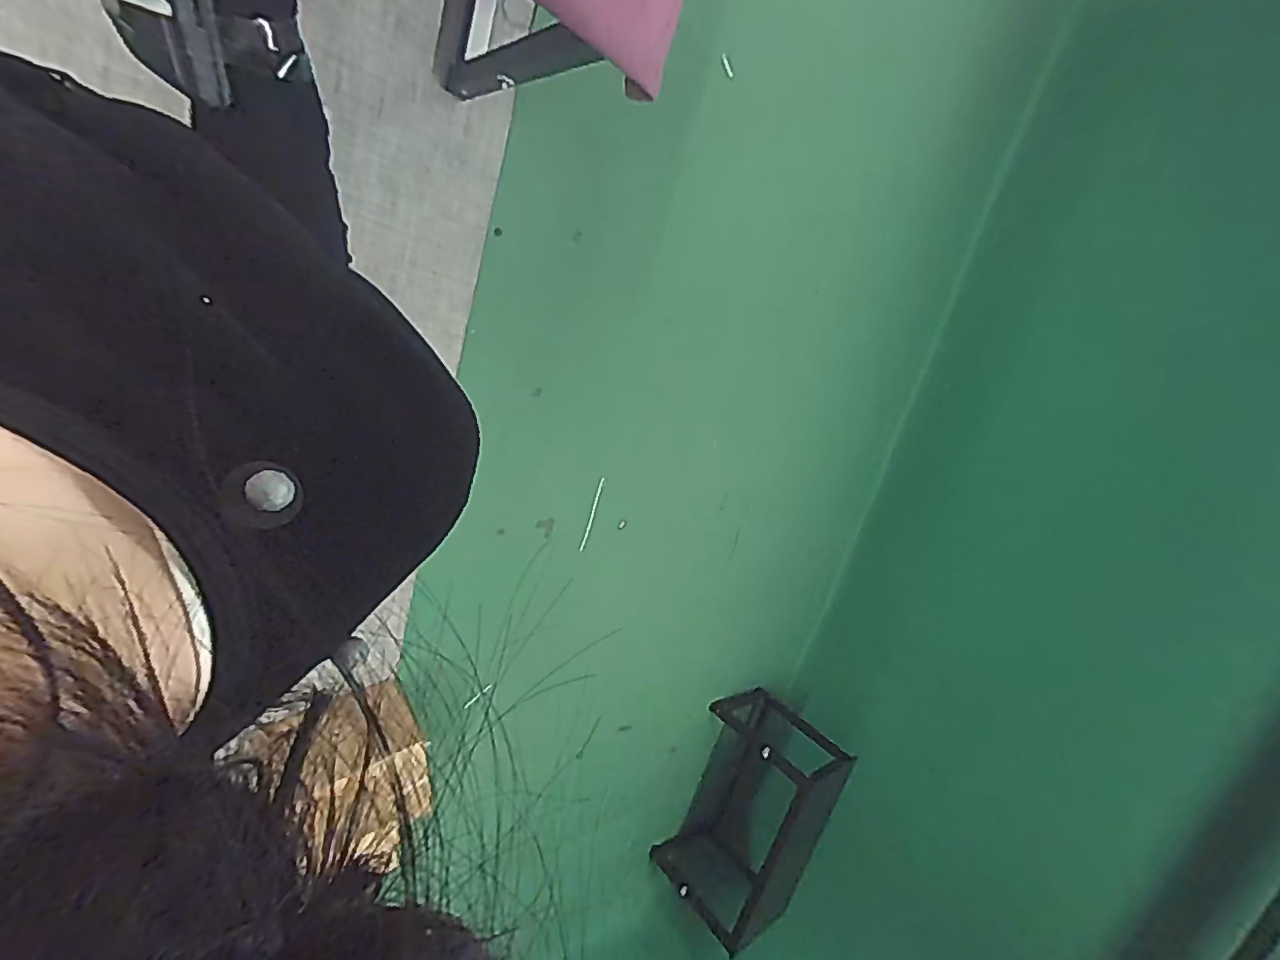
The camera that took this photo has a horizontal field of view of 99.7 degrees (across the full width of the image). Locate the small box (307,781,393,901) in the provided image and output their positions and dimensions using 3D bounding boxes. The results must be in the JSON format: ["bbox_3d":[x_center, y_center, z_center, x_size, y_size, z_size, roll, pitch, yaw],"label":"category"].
[{"bbox_3d":[-0.765,0.934,1.423,0.168,0.176,0.179,-6,115,-41],"label":"small box"}]

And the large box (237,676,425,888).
[{"bbox_3d":[-0.911,0.870,1.616,0.408,0.320,0.320,-14,121,-41],"label":"large box"}]
